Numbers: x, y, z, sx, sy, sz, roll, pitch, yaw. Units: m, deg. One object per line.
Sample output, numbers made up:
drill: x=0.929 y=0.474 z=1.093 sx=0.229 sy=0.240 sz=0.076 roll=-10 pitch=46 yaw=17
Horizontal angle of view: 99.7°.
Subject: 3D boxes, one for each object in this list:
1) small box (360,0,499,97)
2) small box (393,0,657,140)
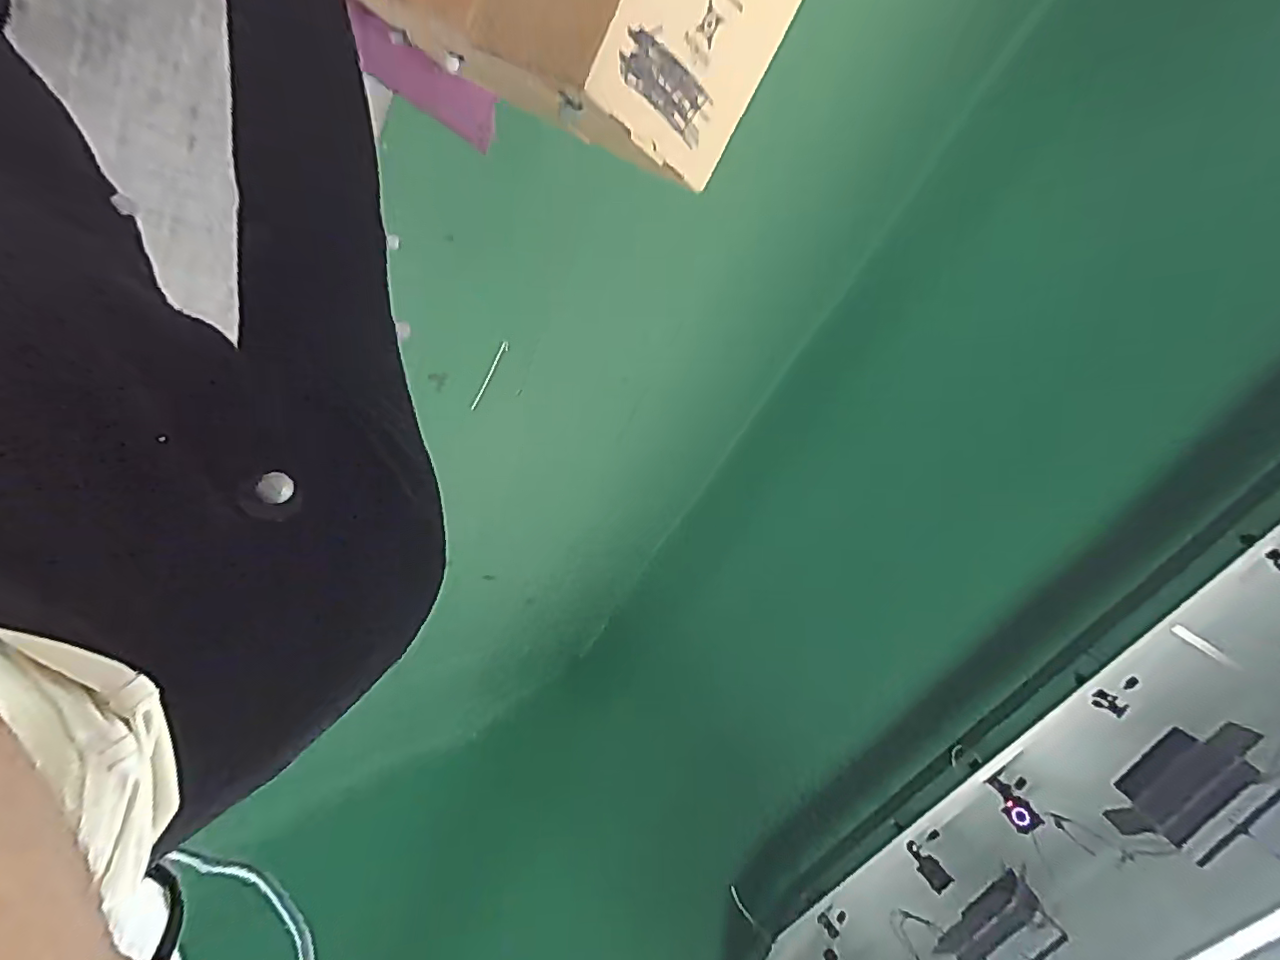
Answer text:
small box: x=-0.223 y=-0.585 z=0.604 sx=0.179 sy=0.176 sz=0.168 roll=4 pitch=123 yaw=-58
small box: x=-0.113 y=-0.489 z=0.531 sx=0.168 sy=0.176 sz=0.179 roll=6 pitch=123 yaw=-56
